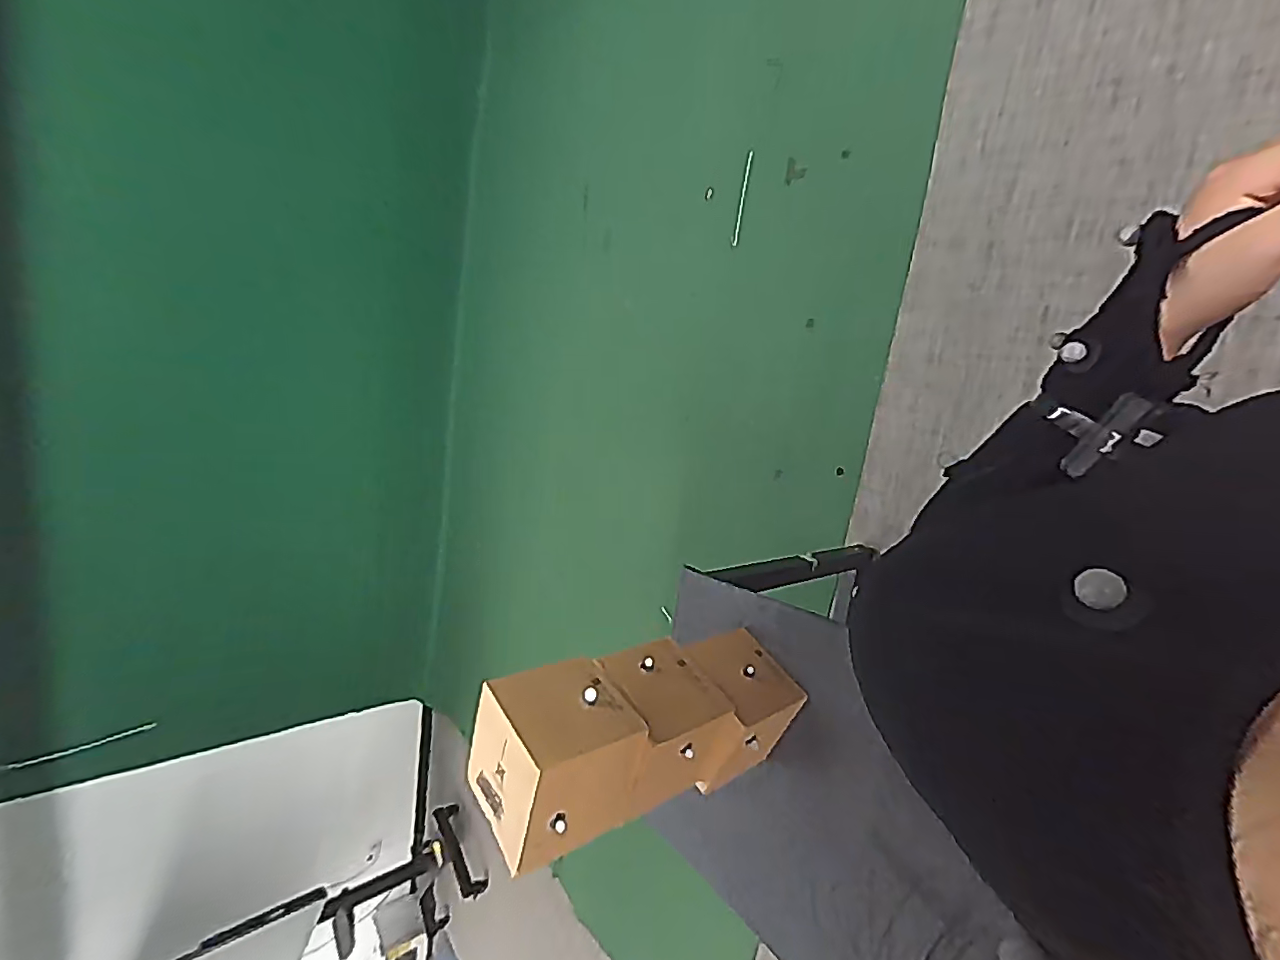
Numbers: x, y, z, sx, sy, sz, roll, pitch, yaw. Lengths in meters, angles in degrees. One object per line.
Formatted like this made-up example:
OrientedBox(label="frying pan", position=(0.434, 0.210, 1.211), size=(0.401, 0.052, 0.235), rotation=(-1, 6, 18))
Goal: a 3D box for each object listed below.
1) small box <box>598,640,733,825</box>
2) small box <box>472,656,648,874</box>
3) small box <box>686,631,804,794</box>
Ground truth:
OrientedBox(label="small box", position=(0.019, 0.377, 0.842), size=(0.168, 0.176, 0.179), rotation=(40, 122, 43))
OrientedBox(label="small box", position=(-0.110, 0.373, 0.741), size=(0.168, 0.176, 0.179), rotation=(32, 115, 45))
OrientedBox(label="small box", position=(0.153, 0.389, 0.935), size=(0.168, 0.176, 0.179), rotation=(45, 125, 40))
